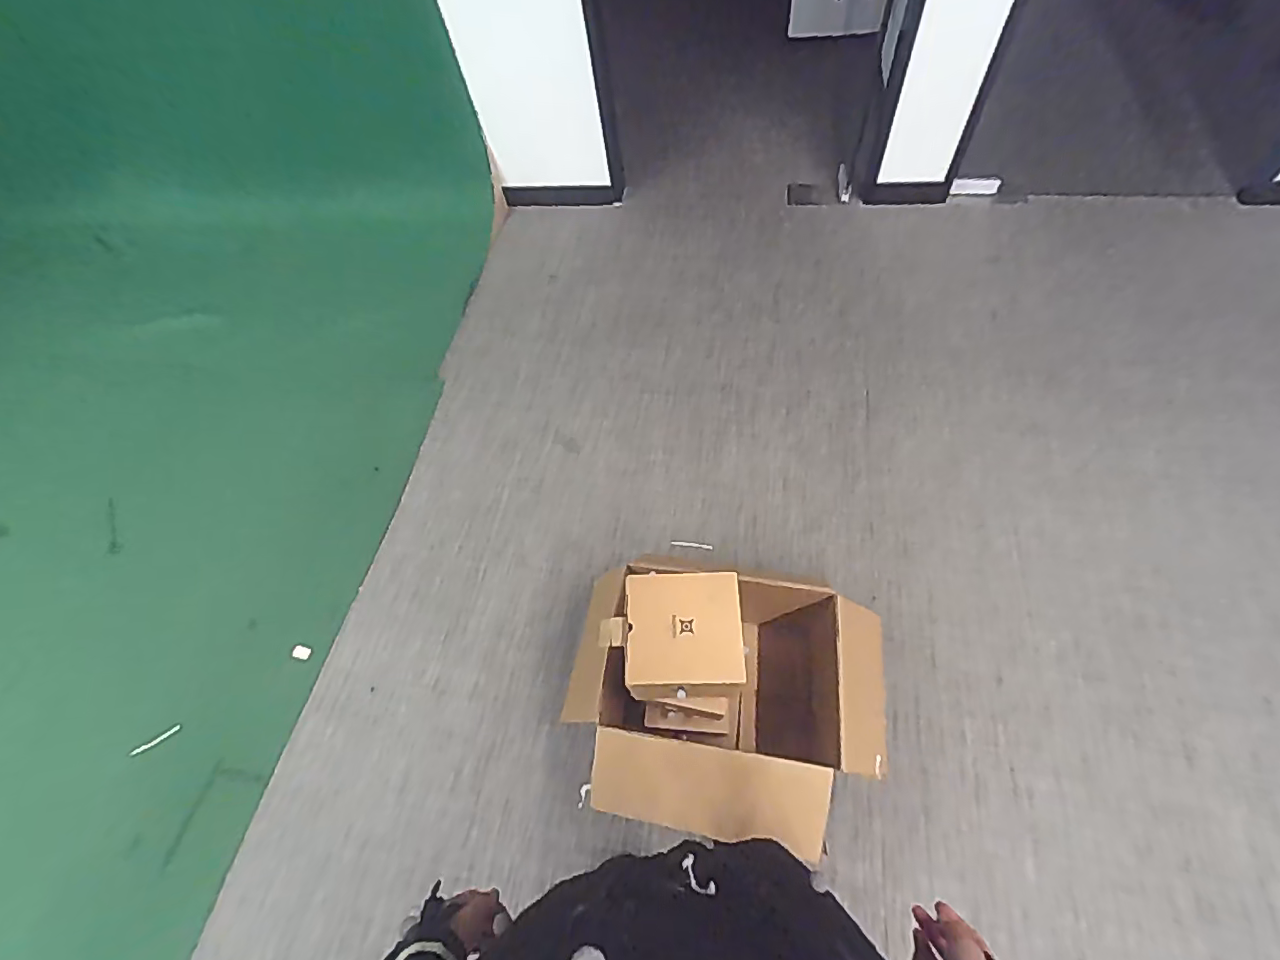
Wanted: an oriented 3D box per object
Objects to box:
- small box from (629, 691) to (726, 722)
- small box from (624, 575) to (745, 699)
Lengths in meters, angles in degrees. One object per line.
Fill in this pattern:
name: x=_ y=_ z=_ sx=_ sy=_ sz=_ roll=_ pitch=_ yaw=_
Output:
small box: x=0.081 y=0.342 z=1.015 sx=0.168 sy=0.176 sz=0.179 roll=9 pitch=64 yaw=9
small box: x=0.069 y=0.258 z=0.876 sx=0.179 sy=0.176 sz=0.168 roll=-2 pitch=62 yaw=4
